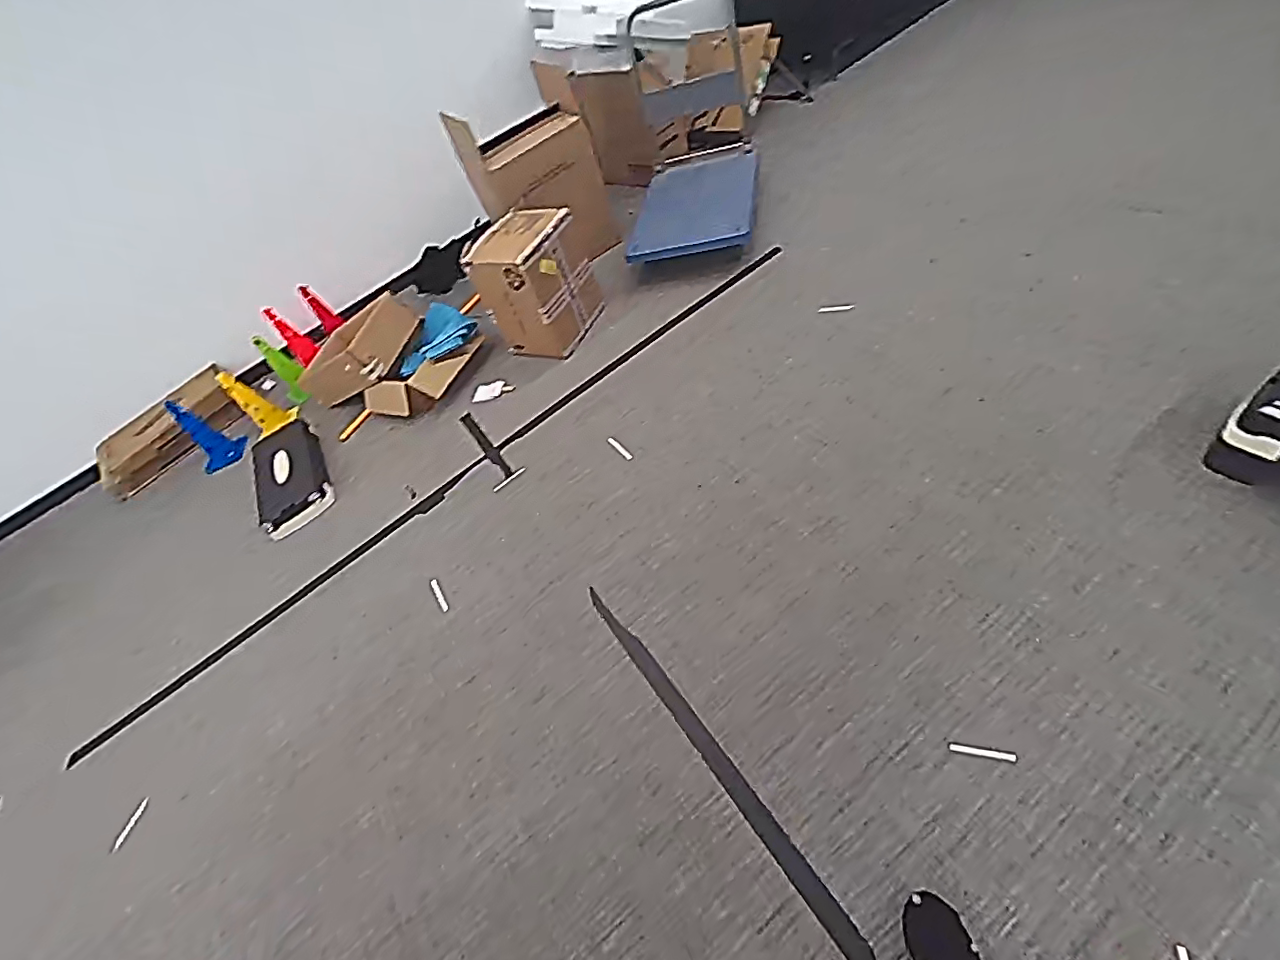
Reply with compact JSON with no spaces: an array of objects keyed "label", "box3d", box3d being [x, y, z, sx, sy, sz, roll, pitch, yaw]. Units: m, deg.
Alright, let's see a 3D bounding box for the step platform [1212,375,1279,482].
[{"label":"step platform","box3d":[1.678,-0.010,1.098,0.286,0.204,0.684,-37,48,-12]}]
